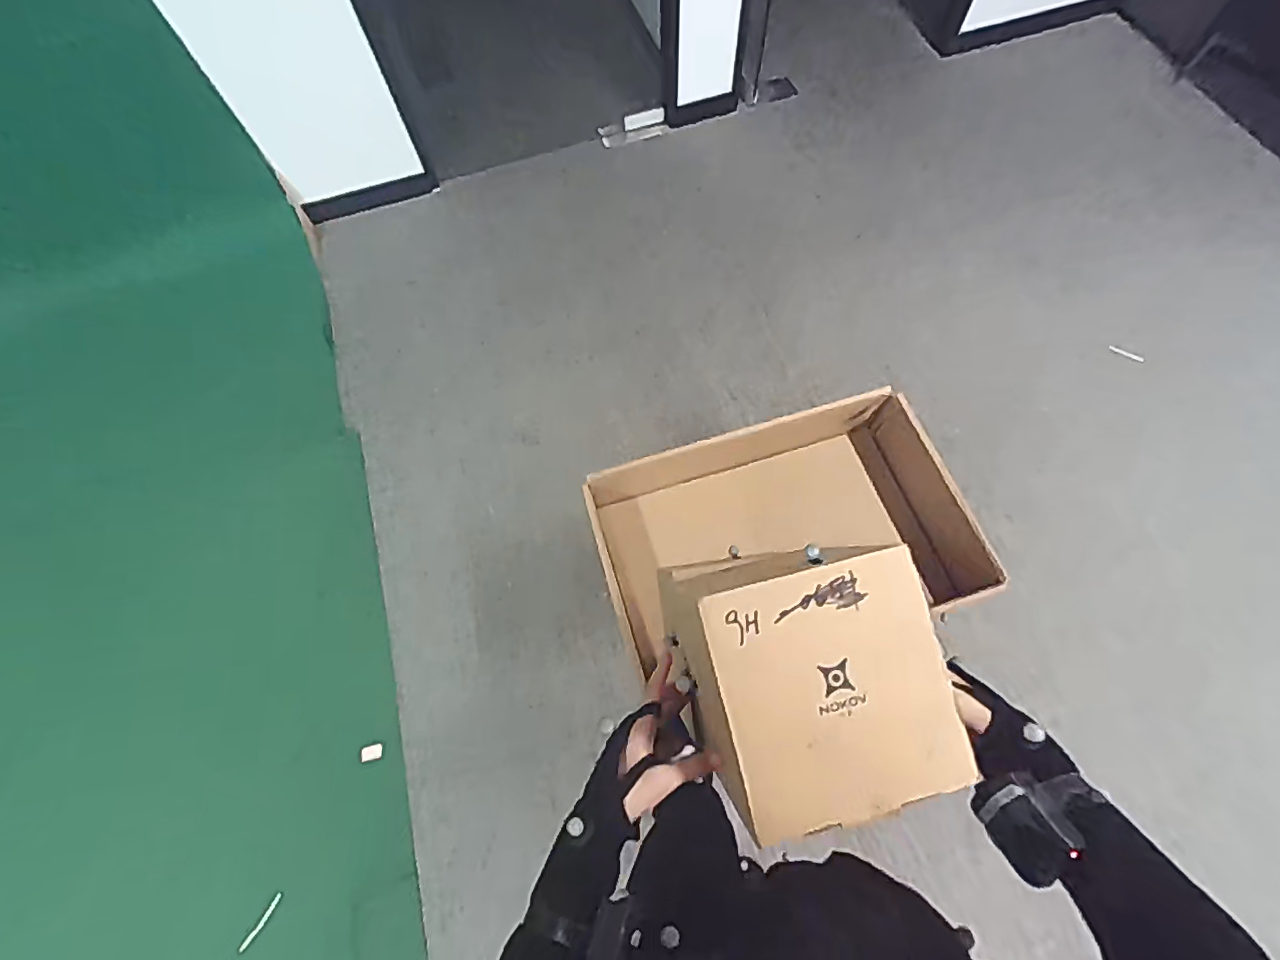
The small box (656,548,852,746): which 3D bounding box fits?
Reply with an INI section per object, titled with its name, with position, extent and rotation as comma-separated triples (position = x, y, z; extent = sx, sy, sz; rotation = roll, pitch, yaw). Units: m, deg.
[small box]
position = 0.115, 0.179, 0.624
extent = 0.168, 0.176, 0.179
rotation = -8, 82, -4
